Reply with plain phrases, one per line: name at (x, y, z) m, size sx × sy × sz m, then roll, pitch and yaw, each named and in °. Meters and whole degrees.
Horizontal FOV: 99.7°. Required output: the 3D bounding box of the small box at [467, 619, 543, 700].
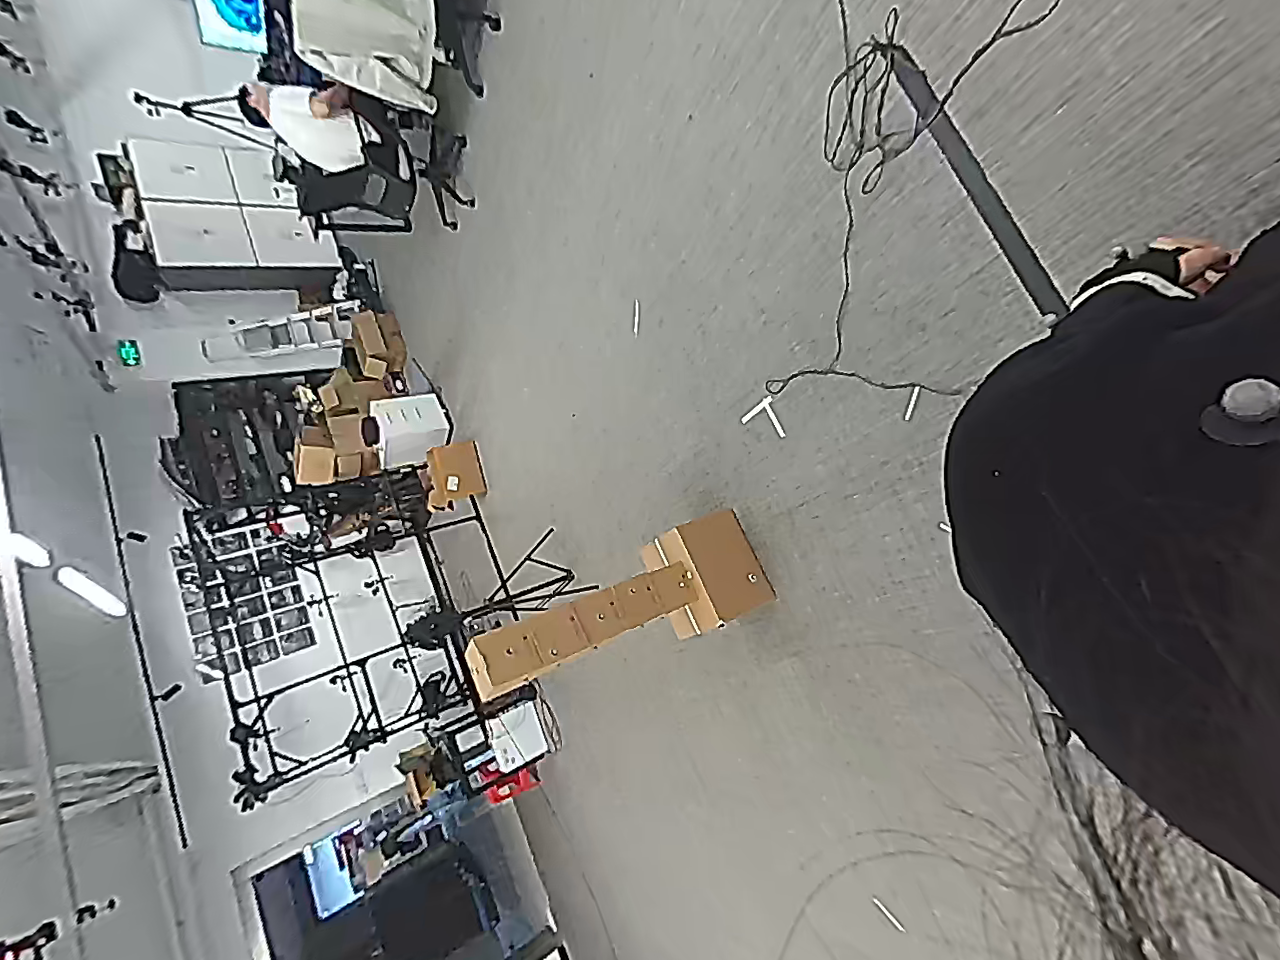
small box at (-0.424, 0.561, 1.707) m, size 0.168 × 0.176 × 0.179 m, roll 60°, pitch 142°, yaw 21°

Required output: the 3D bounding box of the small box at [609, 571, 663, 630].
small box at (-0.034, 0.452, 1.987) m, size 0.179 × 0.176 × 0.168 m, roll -45°, pitch 65°, yaw 52°

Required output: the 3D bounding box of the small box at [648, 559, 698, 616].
small box at (0.094, 0.423, 2.083) m, size 0.179 × 0.176 × 0.168 m, roll -42°, pitch 69°, yaw 52°

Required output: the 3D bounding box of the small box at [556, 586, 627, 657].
small box at (-0.165, 0.493, 1.896) m, size 0.168 × 0.176 × 0.179 m, roll 63°, pitch 143°, yaw 19°
